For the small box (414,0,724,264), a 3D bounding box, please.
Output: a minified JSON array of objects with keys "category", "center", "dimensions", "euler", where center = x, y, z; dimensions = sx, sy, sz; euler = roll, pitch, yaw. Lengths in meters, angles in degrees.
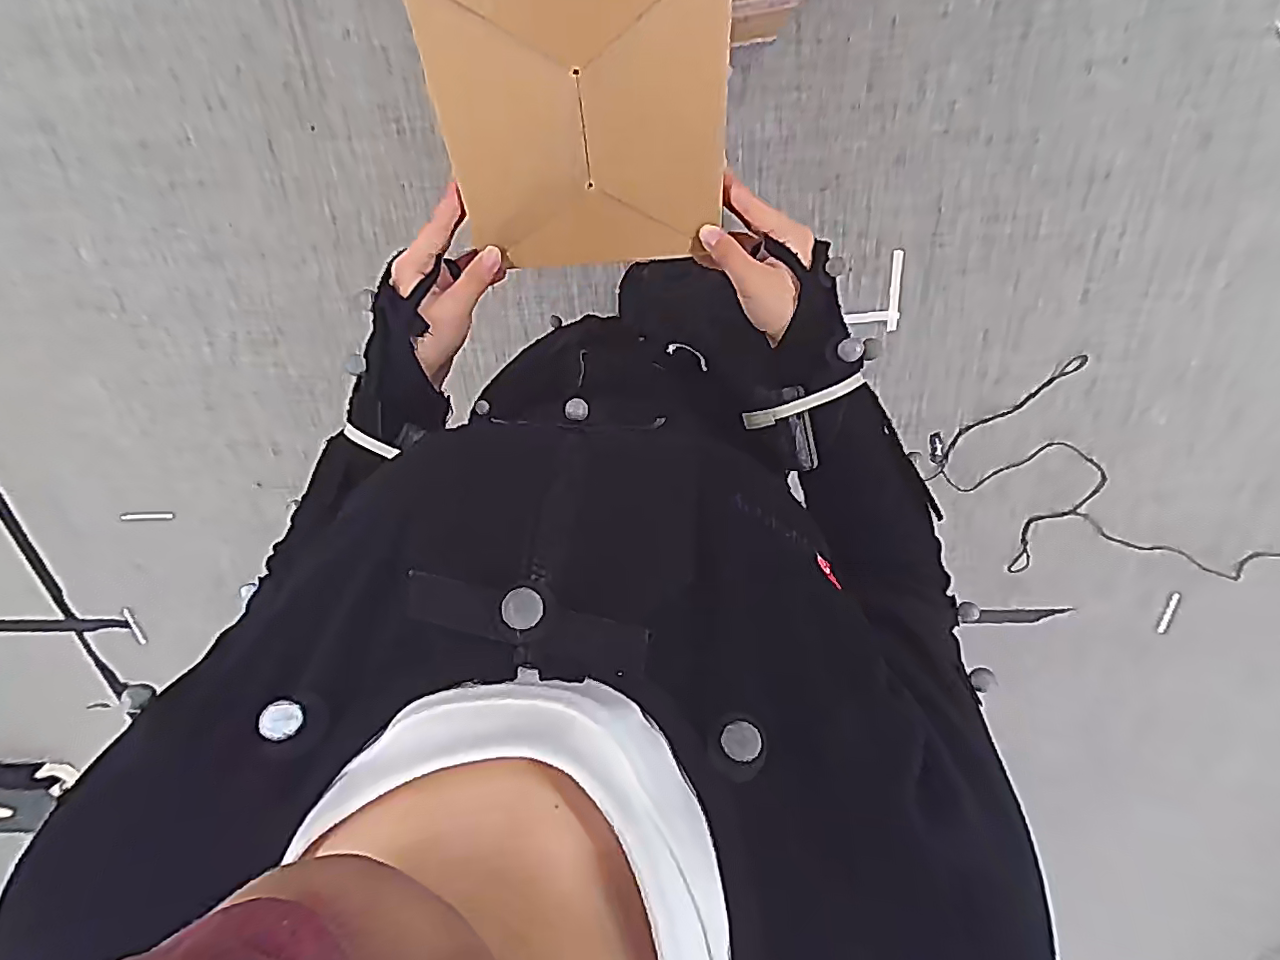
[{"category":"small box","center":[-0.038,-0.274,0.394],"dimensions":[0.179,0.176,0.168],"euler":[-3,137,2]}]
